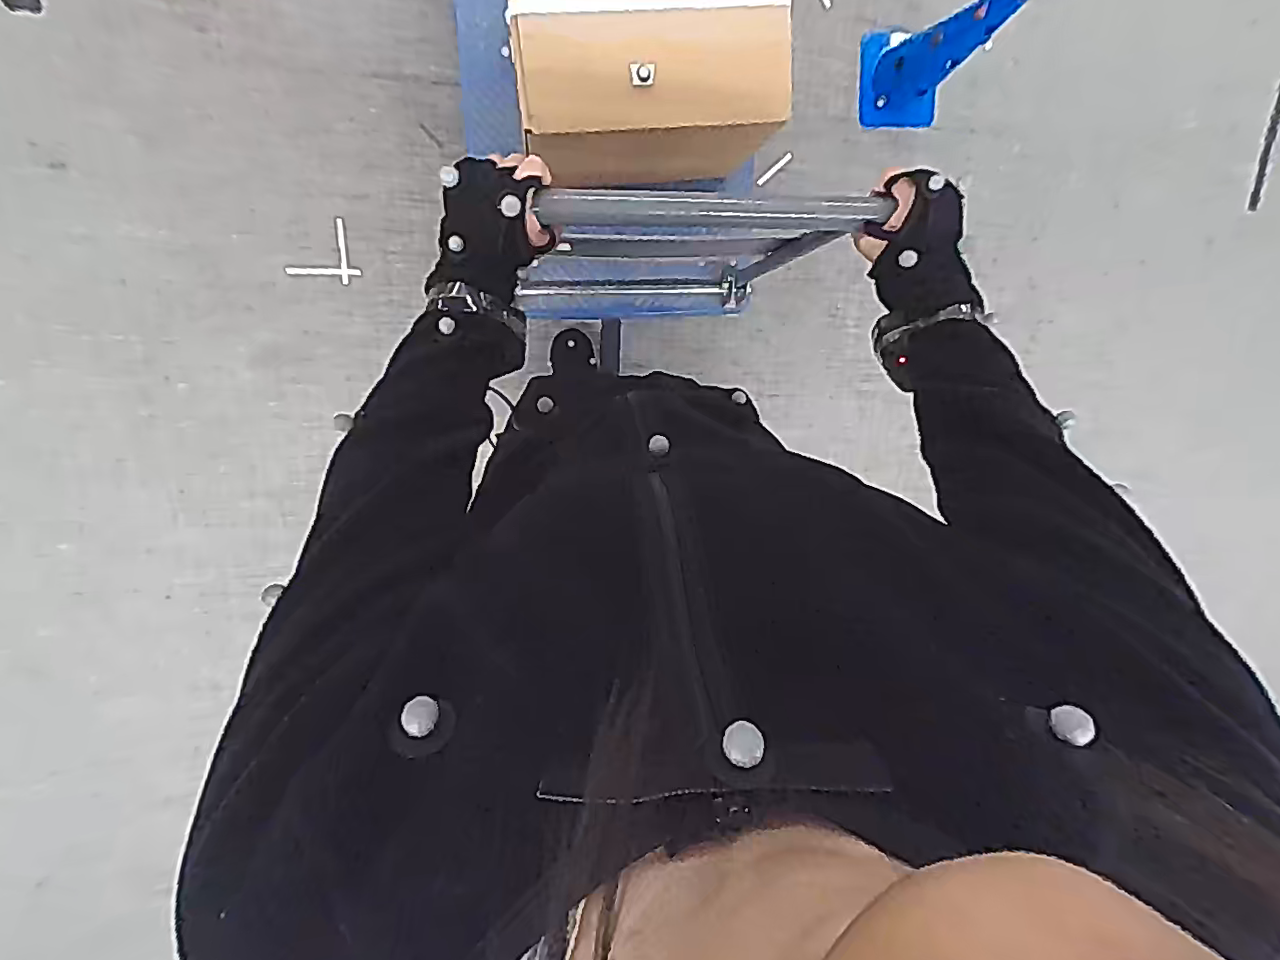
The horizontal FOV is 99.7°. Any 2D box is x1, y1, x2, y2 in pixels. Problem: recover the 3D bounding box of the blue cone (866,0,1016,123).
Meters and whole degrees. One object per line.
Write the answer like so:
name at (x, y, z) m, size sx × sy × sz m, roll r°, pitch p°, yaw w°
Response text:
blue cone at (0.657, -0.928, 1.141) m, size 0.193 × 0.380 × 0.192 m, roll -5°, pitch 104°, yaw -9°
